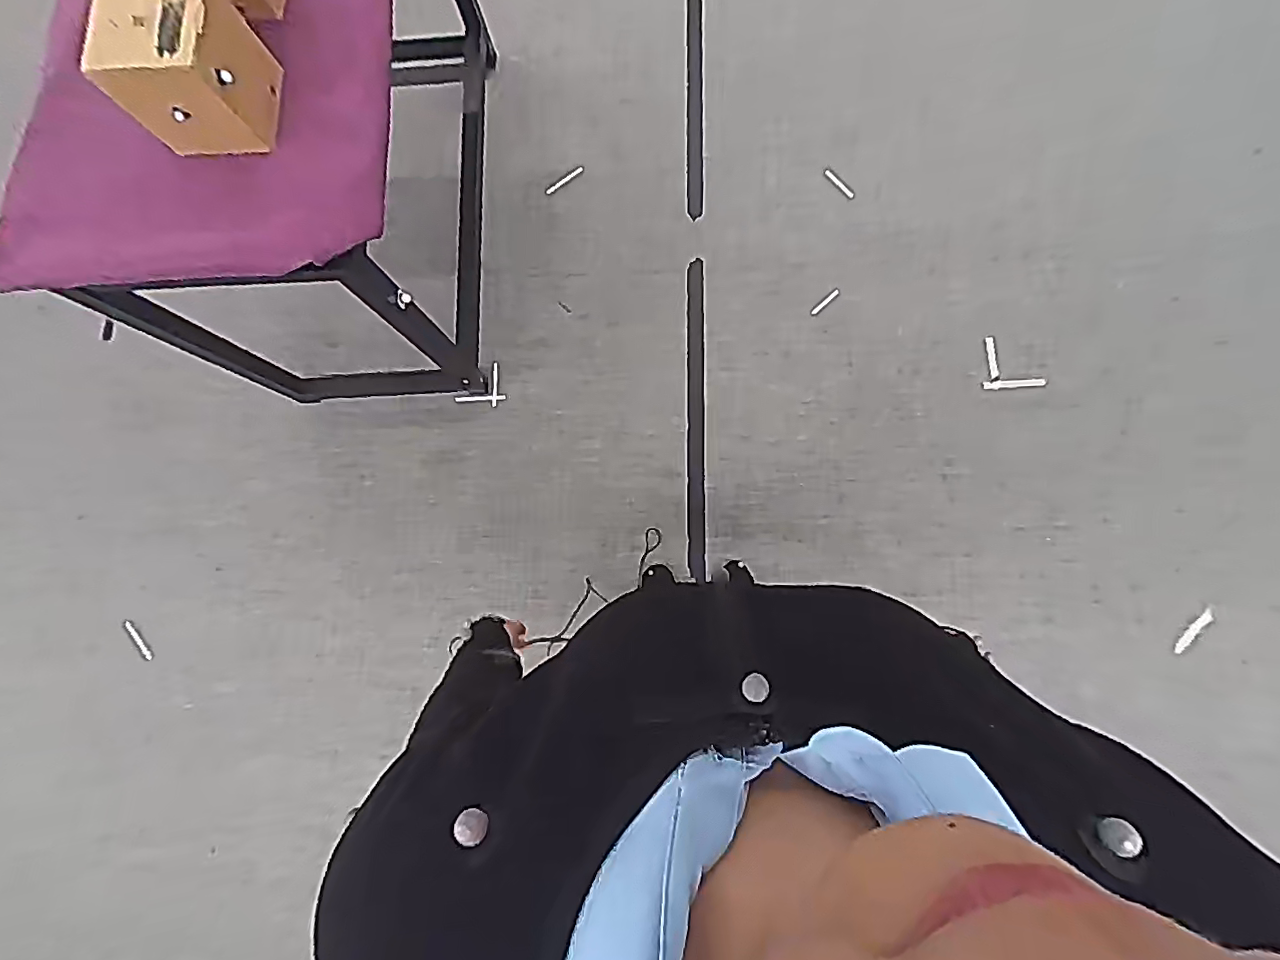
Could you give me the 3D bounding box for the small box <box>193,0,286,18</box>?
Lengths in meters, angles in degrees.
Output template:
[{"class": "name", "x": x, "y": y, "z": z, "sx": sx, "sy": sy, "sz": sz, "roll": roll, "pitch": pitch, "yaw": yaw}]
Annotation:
[{"class": "small box", "x": -0.722, "y": -0.936, "z": 0.917, "sx": 0.168, "sy": 0.176, "sz": 0.179, "roll": 6, "pitch": 81, "yaw": 3}]
